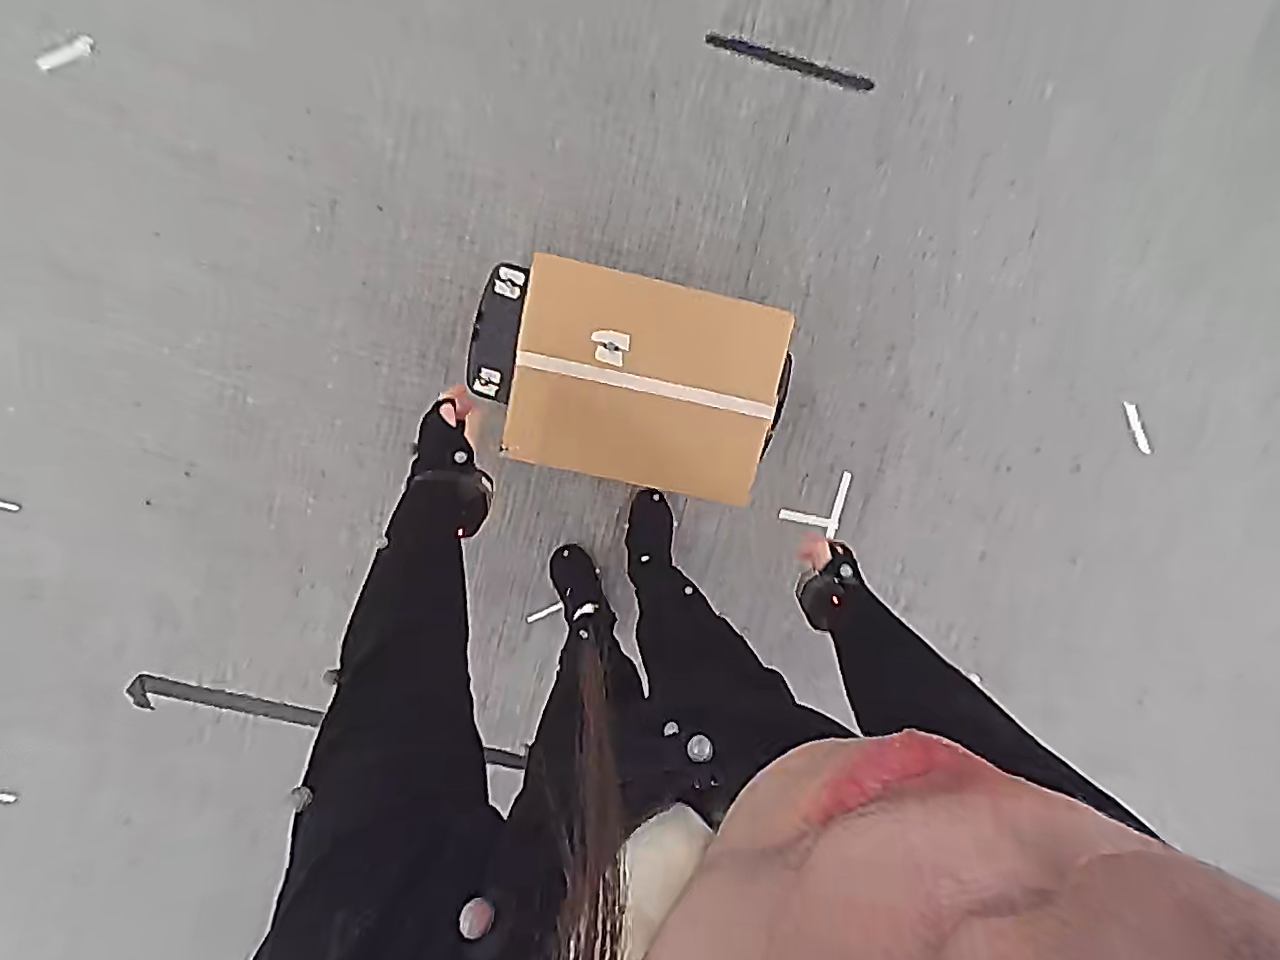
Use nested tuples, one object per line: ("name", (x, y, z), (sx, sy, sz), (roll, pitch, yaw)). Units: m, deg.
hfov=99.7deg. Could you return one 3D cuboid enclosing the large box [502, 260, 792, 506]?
("large box", (0.005, -0.167, 0.974), (0.408, 0.320, 0.320), (12, 99, -4))
